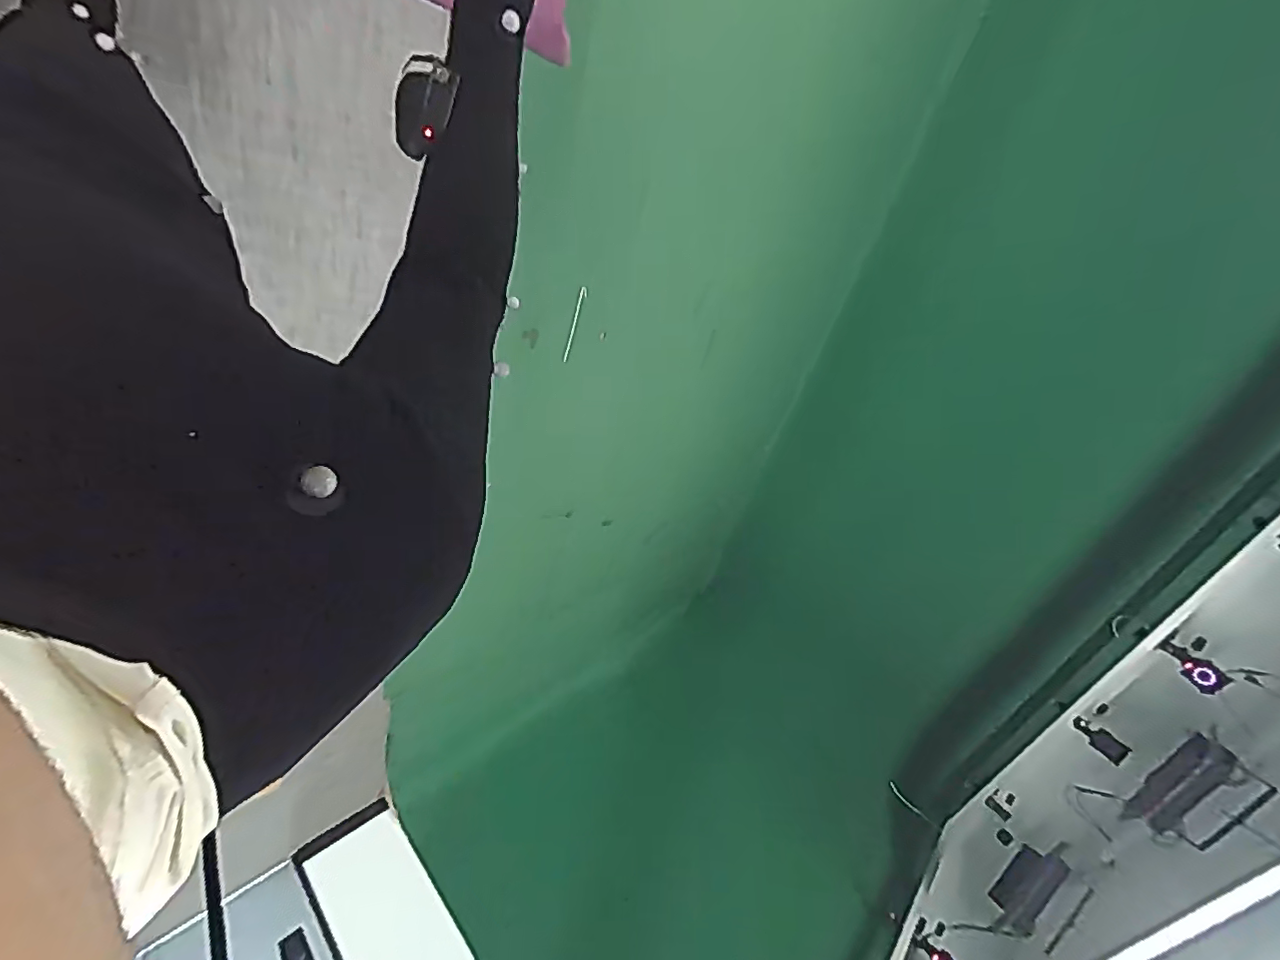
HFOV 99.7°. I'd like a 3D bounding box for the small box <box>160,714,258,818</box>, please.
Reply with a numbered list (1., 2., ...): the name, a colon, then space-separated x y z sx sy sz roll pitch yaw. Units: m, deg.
1. small box: -1.248 0.816 1.564 0.179 0.176 0.168 -4 126 -53
